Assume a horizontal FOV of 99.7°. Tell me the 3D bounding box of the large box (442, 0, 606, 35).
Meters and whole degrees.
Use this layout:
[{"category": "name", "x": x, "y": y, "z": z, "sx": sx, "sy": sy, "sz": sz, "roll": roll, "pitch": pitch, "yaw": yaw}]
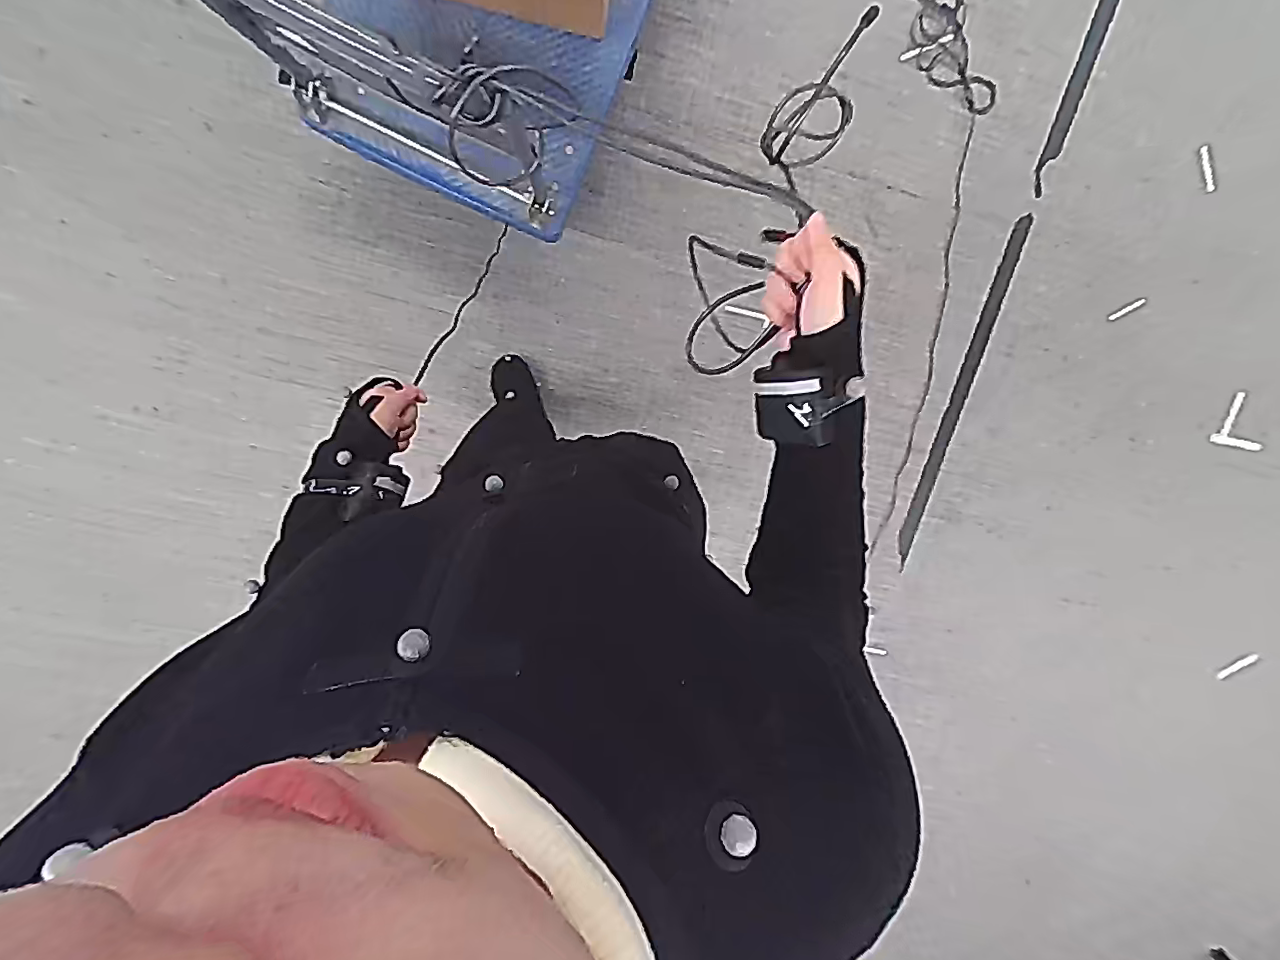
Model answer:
[{"category": "large box", "x": -0.237, "y": -1.051, "z": 0.915, "sx": 0.408, "sy": 0.320, "sz": 0.320, "roll": 8, "pitch": 102, "yaw": -8}]
